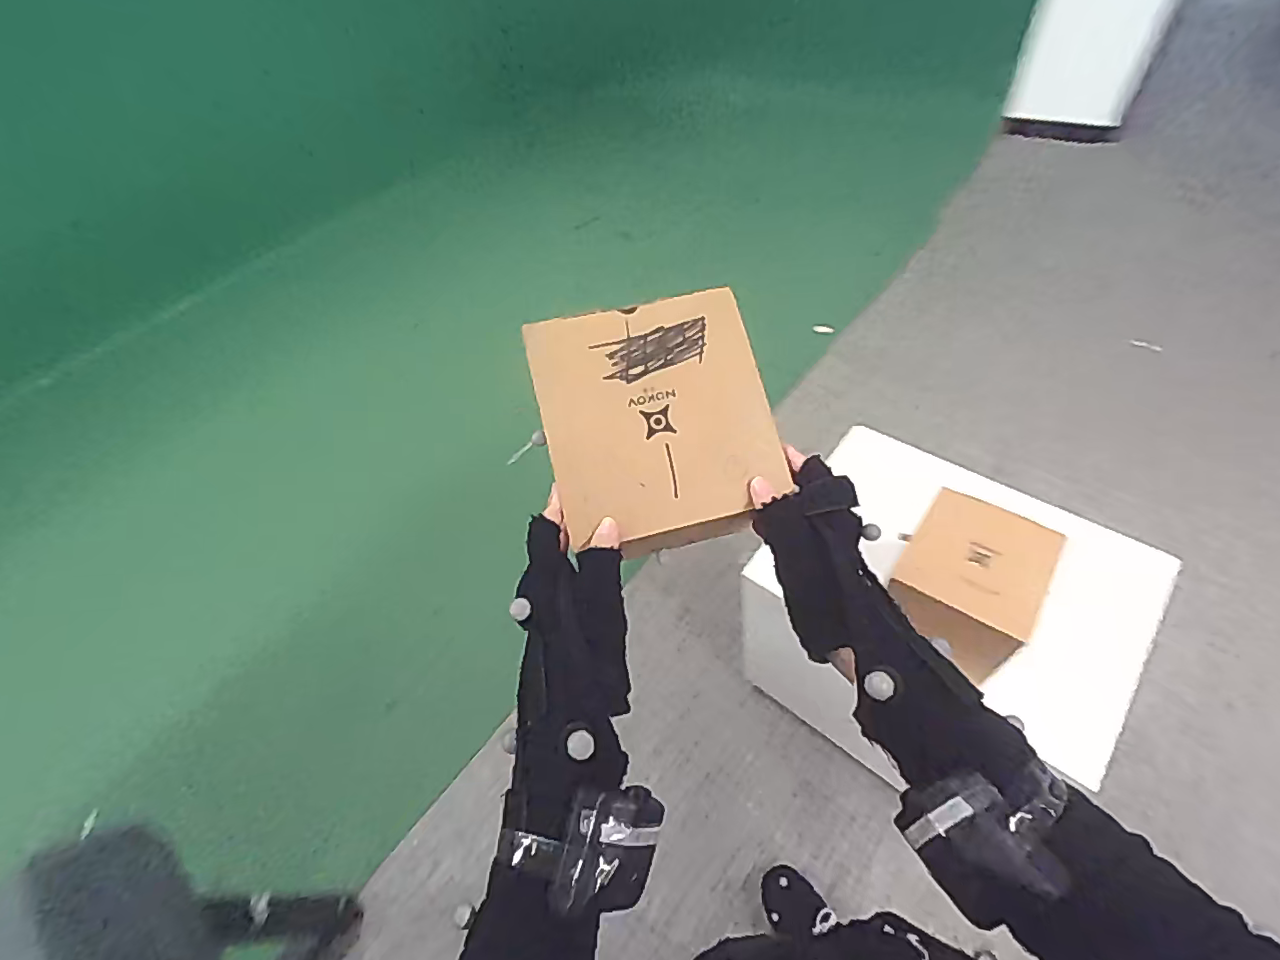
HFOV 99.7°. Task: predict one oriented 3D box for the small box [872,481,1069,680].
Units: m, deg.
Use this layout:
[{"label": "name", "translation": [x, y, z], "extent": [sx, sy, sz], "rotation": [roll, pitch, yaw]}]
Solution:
[{"label": "small box", "translation": [0.441, 0.140, 0.748], "extent": [0.168, 0.176, 0.179], "rotation": [27, 64, 29]}]
